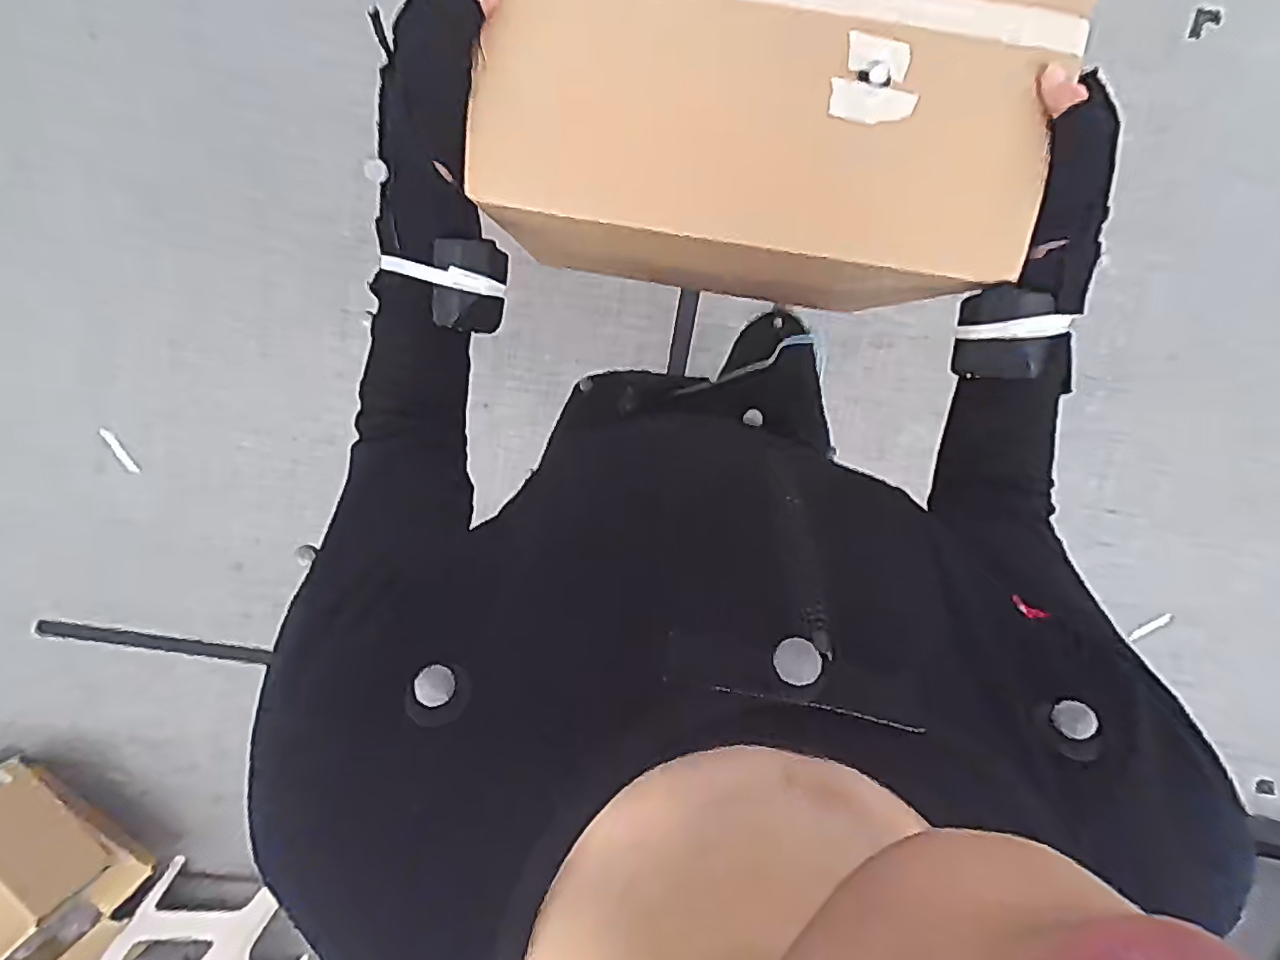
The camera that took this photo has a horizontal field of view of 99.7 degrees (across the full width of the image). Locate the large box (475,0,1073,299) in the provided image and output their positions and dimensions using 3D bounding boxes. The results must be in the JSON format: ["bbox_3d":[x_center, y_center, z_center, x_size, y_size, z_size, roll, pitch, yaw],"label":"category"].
[{"bbox_3d":[0.089,-0.365,0.507,0.408,0.320,0.320,7,105,-4],"label":"large box"}]
